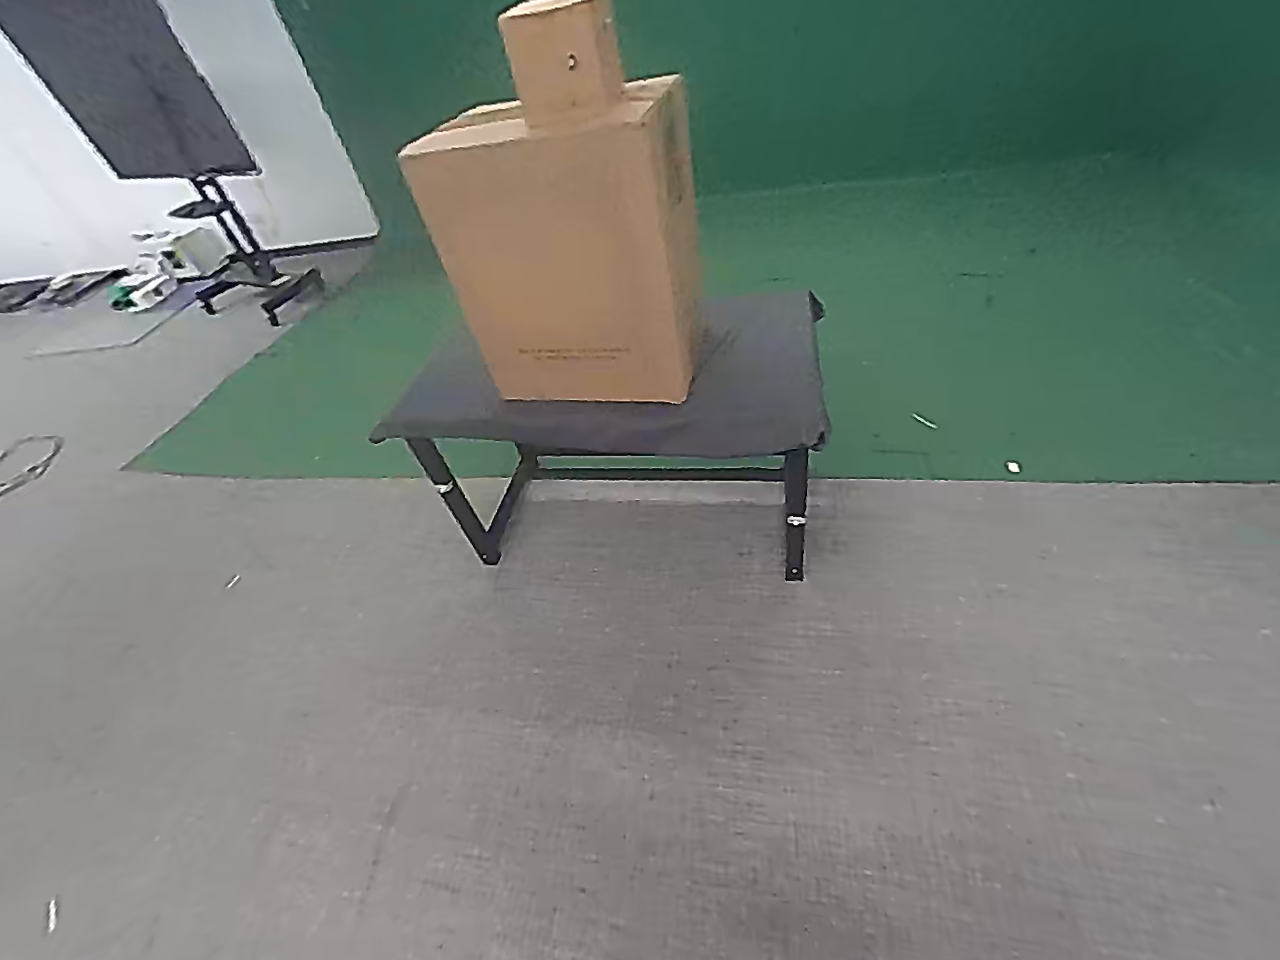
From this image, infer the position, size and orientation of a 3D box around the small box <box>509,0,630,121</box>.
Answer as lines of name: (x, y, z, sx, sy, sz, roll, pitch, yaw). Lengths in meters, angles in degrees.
small box: (-0.120, -0.791, 1.015, 0.168, 0.176, 0.179, 2, 47, 12)
